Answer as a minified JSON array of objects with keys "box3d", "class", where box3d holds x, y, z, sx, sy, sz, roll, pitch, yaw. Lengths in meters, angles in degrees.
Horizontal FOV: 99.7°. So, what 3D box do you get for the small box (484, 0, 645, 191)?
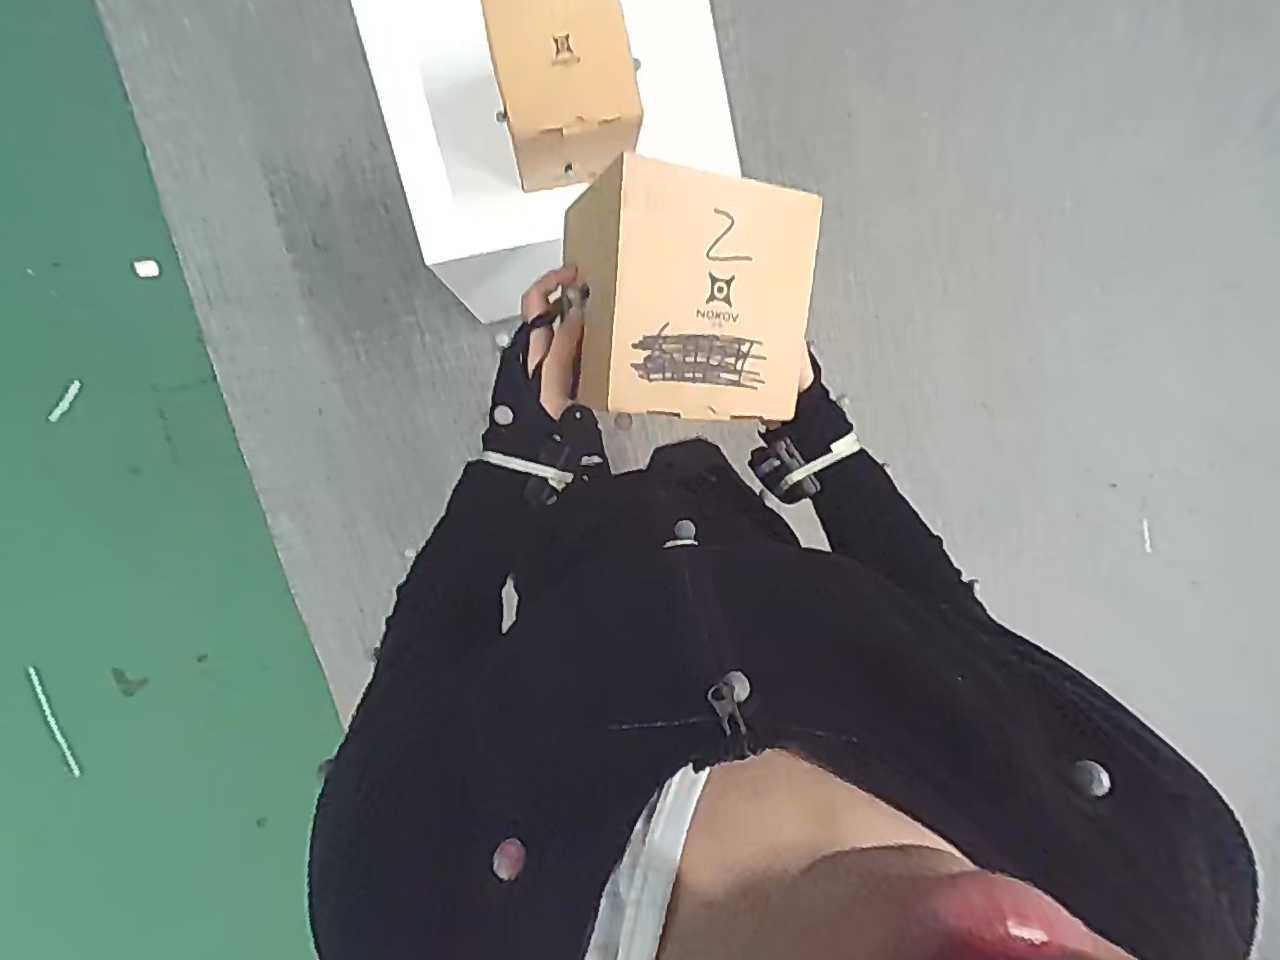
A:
[{"box3d":[-0.100,-0.517,0.715,0.168,0.176,0.179,-13,98,-6],"class":"small box"}]
